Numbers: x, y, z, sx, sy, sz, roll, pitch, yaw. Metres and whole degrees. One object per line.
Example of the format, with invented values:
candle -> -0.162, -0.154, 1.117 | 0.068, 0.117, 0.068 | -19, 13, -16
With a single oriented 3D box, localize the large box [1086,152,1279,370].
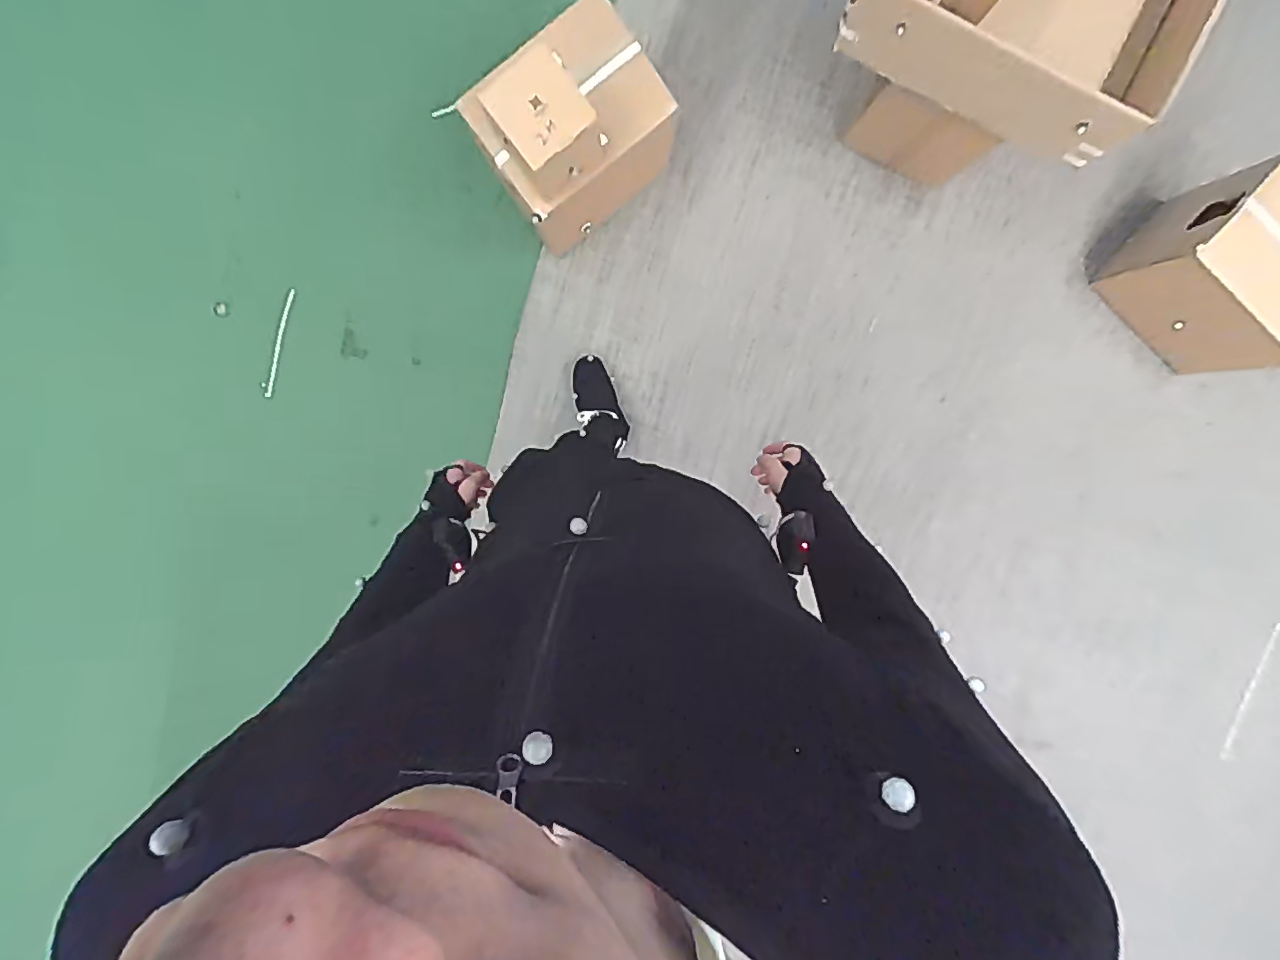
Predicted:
large box -> 1.541, -0.543, 1.430 | 0.408, 0.320, 0.320 | 40, 94, -5

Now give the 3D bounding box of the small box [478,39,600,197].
small box -> -0.199, -0.732, 1.117 | 0.168, 0.176, 0.179 | -38, 98, 3
